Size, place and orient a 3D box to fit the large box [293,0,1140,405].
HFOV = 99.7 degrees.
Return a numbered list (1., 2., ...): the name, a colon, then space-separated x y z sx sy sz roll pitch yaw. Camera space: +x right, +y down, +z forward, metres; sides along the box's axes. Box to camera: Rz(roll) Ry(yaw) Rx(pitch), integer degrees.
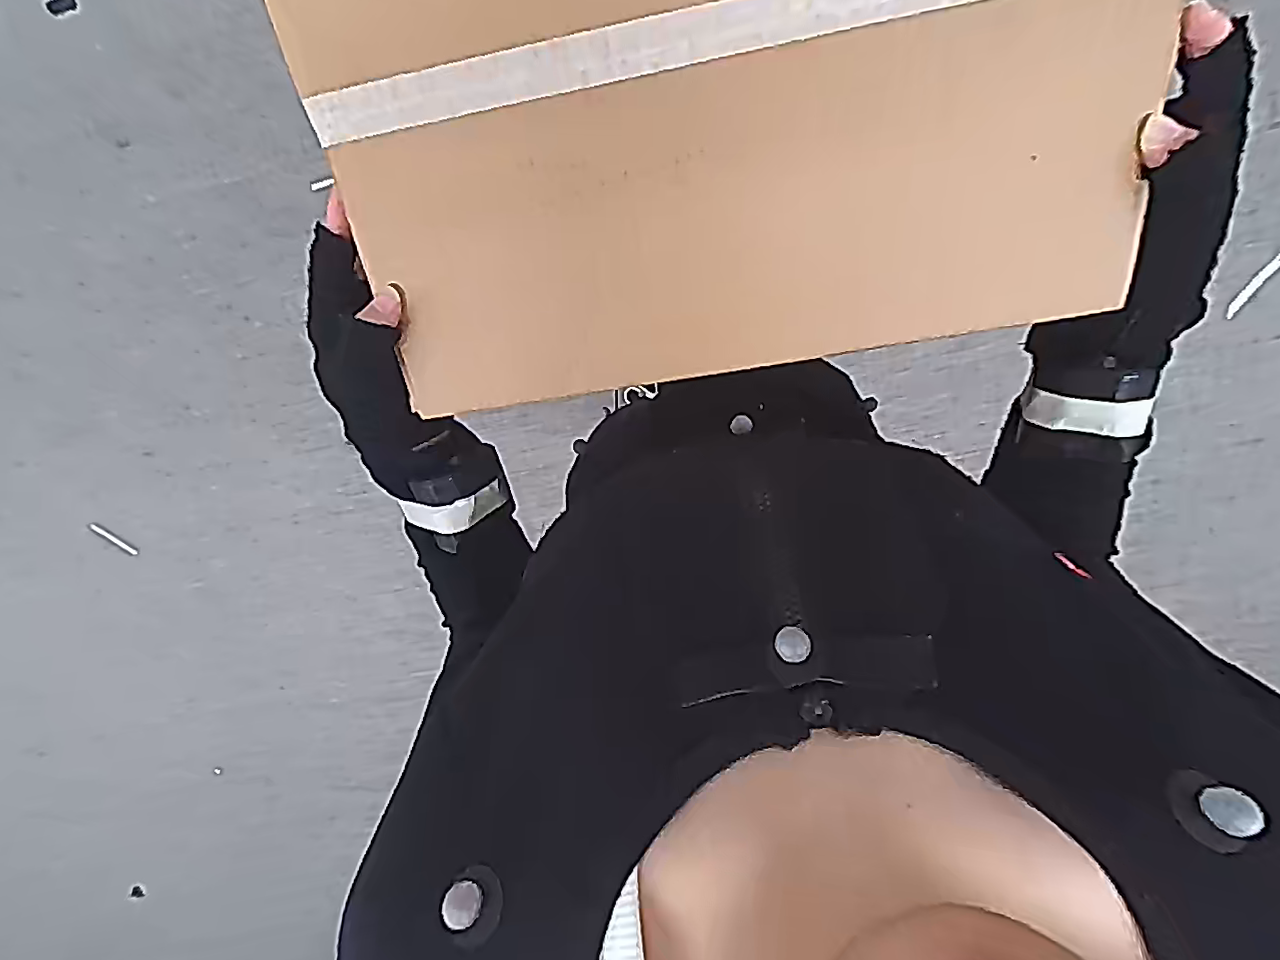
1. large box: 0.037 -0.272 0.401 0.408 0.320 0.320 -8 114 5
